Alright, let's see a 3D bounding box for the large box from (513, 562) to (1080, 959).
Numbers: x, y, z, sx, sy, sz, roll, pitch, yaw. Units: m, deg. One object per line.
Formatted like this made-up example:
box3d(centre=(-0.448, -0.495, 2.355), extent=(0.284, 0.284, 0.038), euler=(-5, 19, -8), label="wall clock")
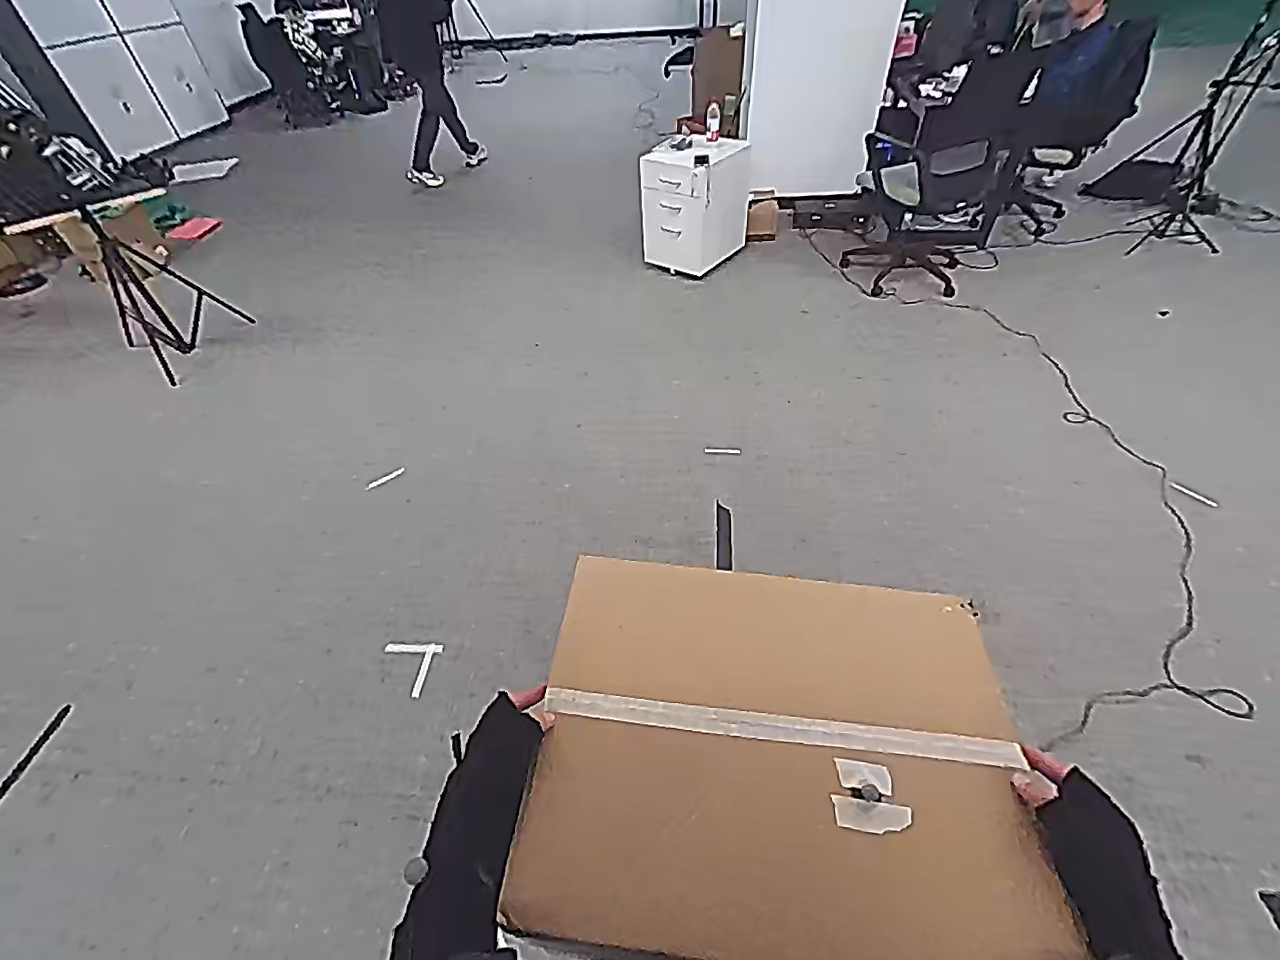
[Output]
box3d(centre=(0.114, 0.317, 0.581), extent=(0.408, 0.320, 0.320), euler=(6, 48, 4), label="large box")
